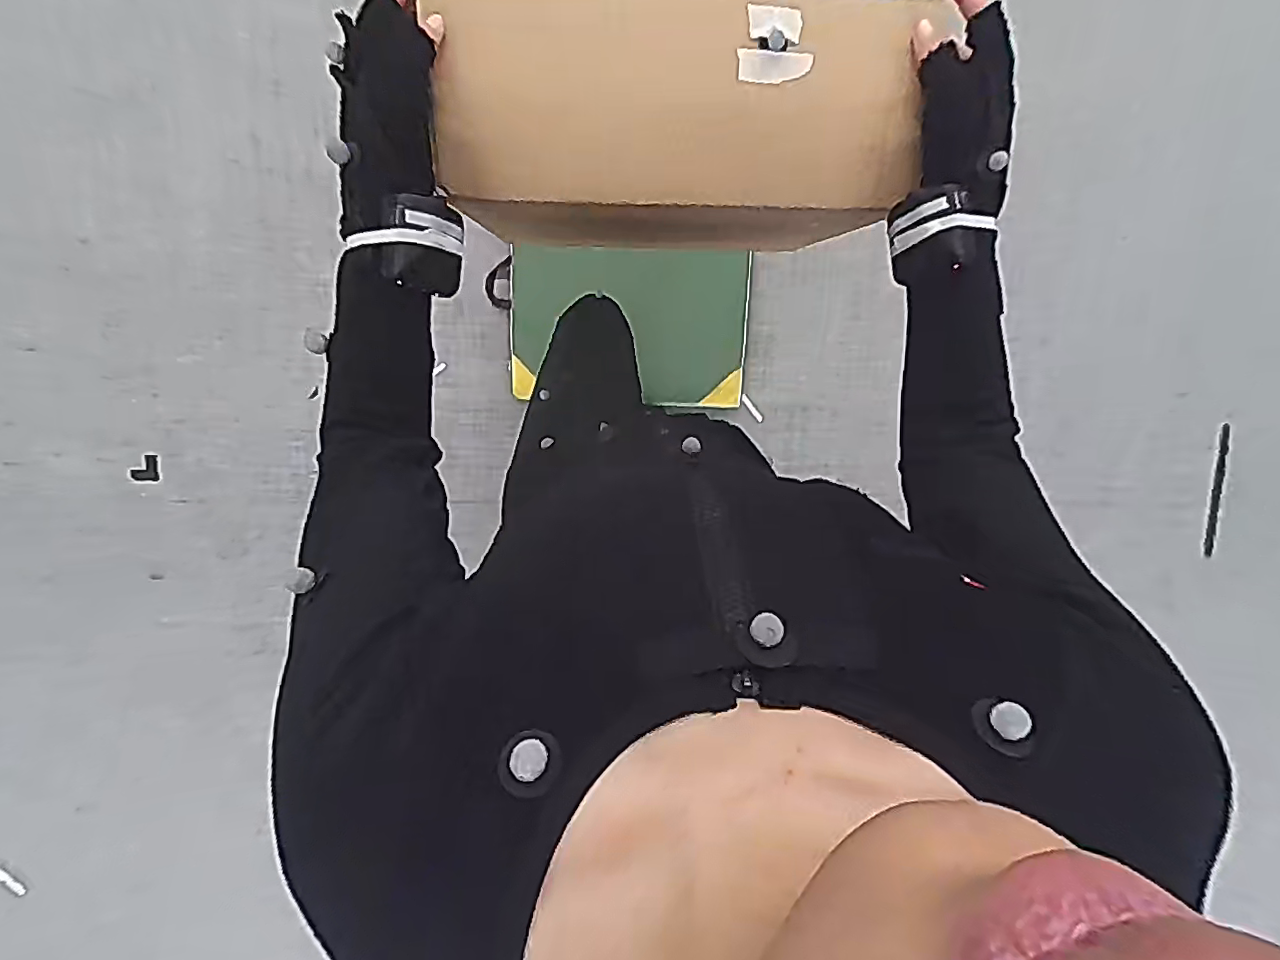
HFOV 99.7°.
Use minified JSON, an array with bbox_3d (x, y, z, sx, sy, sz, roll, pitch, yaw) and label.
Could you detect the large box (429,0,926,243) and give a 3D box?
[{"bbox_3d":[0.021,-0.437,0.563,0.408,0.320,0.320,-1,107,-5],"label":"large box"}]
